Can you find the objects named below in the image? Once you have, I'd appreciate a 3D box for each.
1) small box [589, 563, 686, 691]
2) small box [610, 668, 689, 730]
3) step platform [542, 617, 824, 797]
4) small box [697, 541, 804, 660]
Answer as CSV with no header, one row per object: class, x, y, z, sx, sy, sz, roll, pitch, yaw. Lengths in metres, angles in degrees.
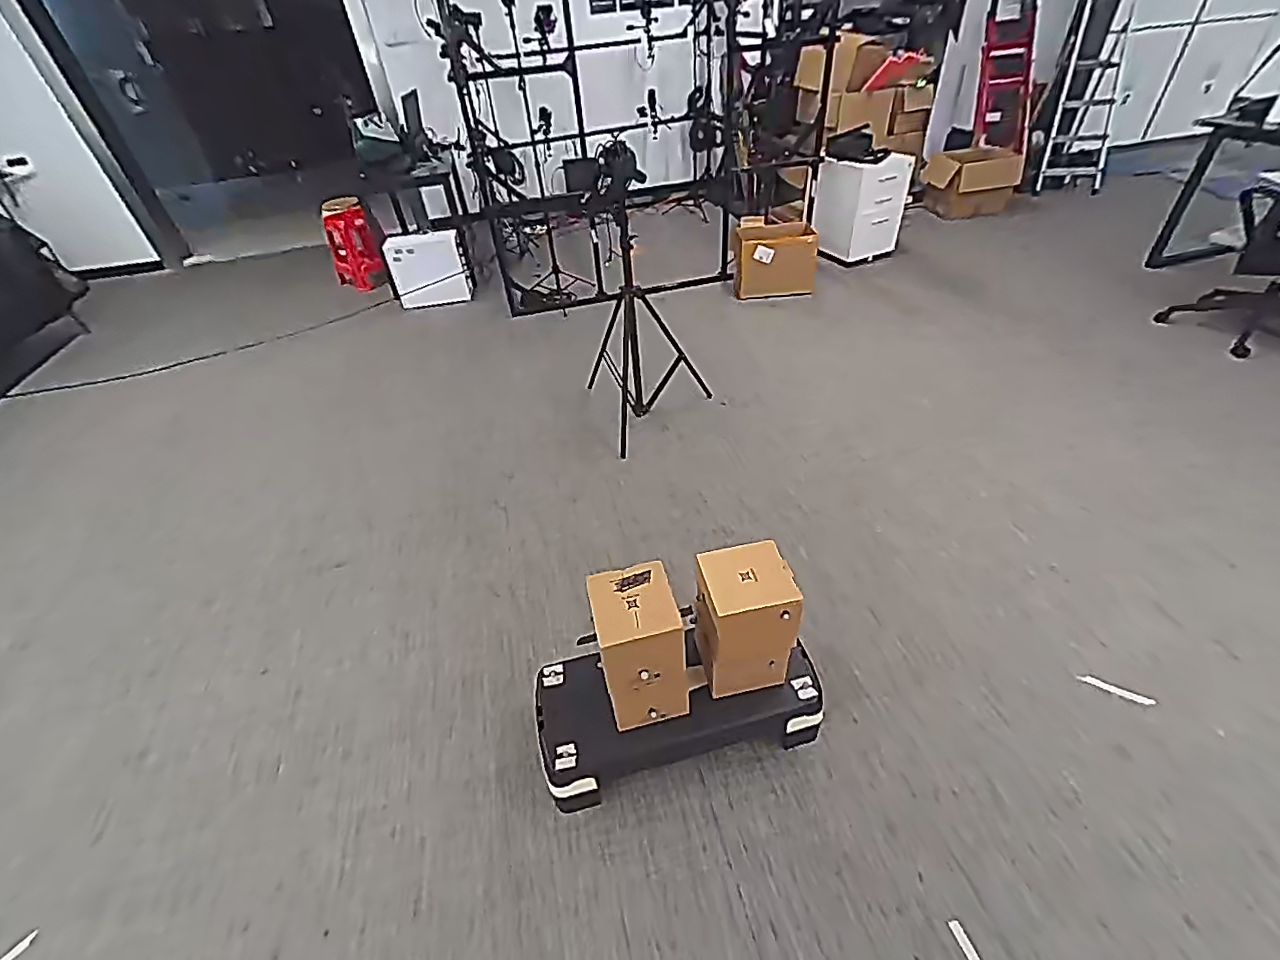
small box,-0.006,0.303,1.118,0.168,0.176,0.179,-12,41,-7
small box,0.010,0.429,1.223,0.168,0.176,0.179,-12,41,-6
step platform,0.100,0.532,1.359,0.684,0.204,0.286,-13,40,-8
small box,0.227,0.258,1.146,0.179,0.176,0.168,-10,41,-6
